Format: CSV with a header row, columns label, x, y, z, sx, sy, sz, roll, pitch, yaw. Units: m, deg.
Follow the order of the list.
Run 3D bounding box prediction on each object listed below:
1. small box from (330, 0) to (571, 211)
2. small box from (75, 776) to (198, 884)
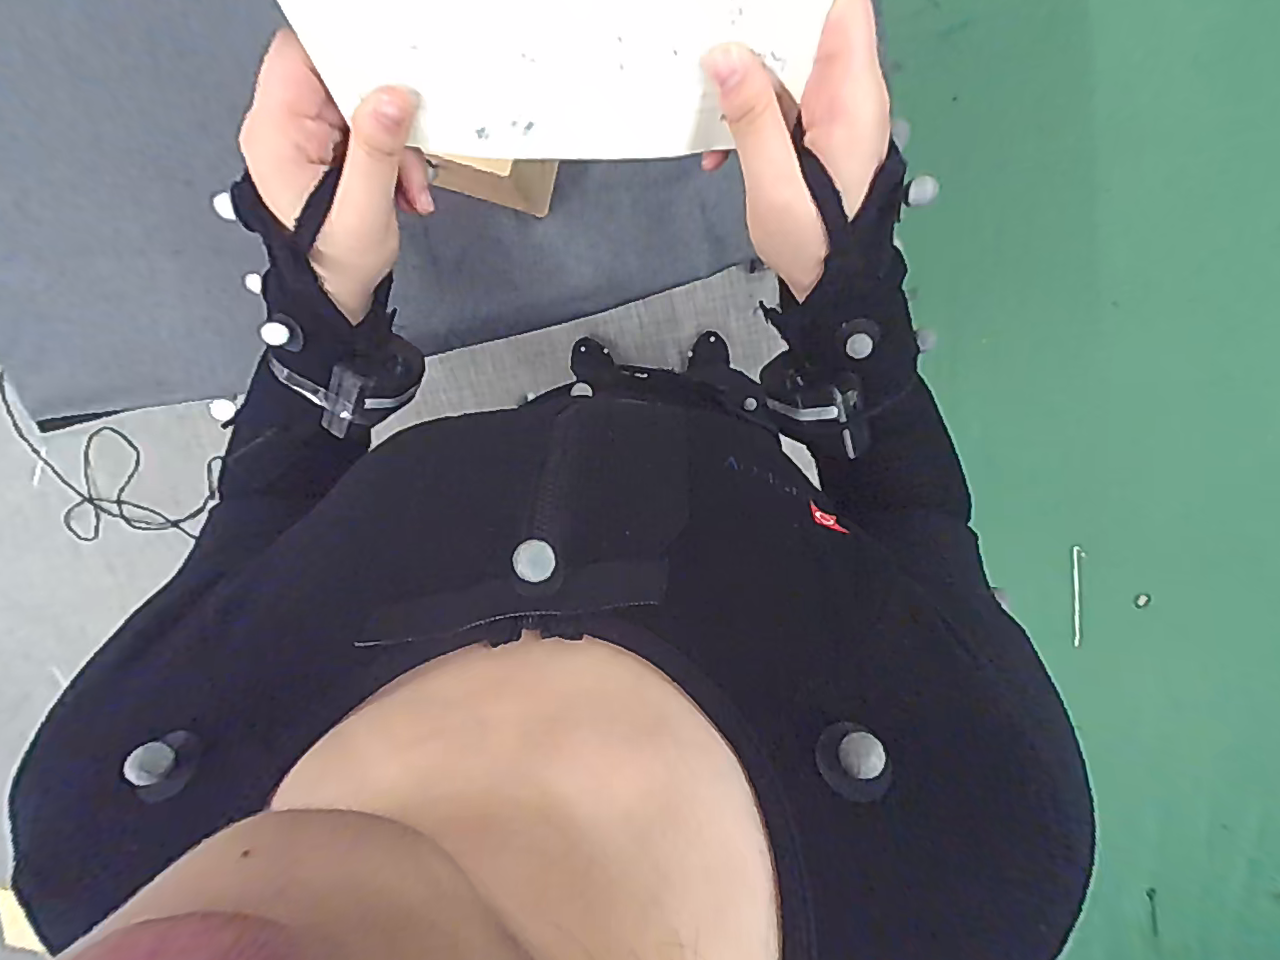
label,x,y,z,sx,sy,sz,roll,pitch,yaw
small box,-0.182,-0.401,0.565,0.179,0.176,0.168,16,105,-1
small box,-1.303,0.911,1.417,0.179,0.176,0.168,8,105,-2
